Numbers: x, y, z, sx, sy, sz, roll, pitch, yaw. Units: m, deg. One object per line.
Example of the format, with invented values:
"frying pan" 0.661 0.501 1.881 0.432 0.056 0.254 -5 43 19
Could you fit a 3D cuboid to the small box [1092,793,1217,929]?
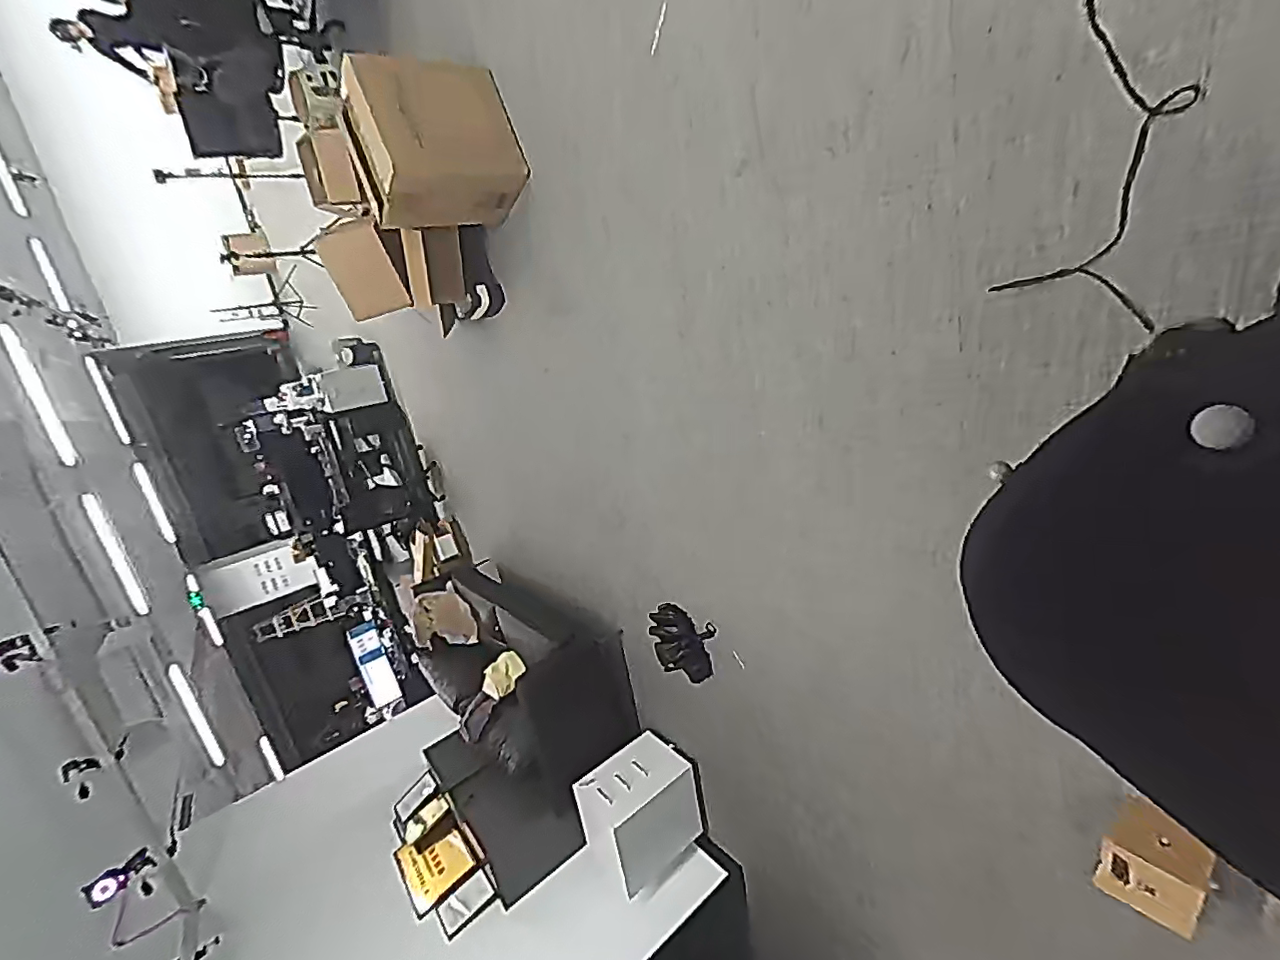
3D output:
"small box" 1.226 0.892 1.291 0.179 0.176 0.168 17 122 48
